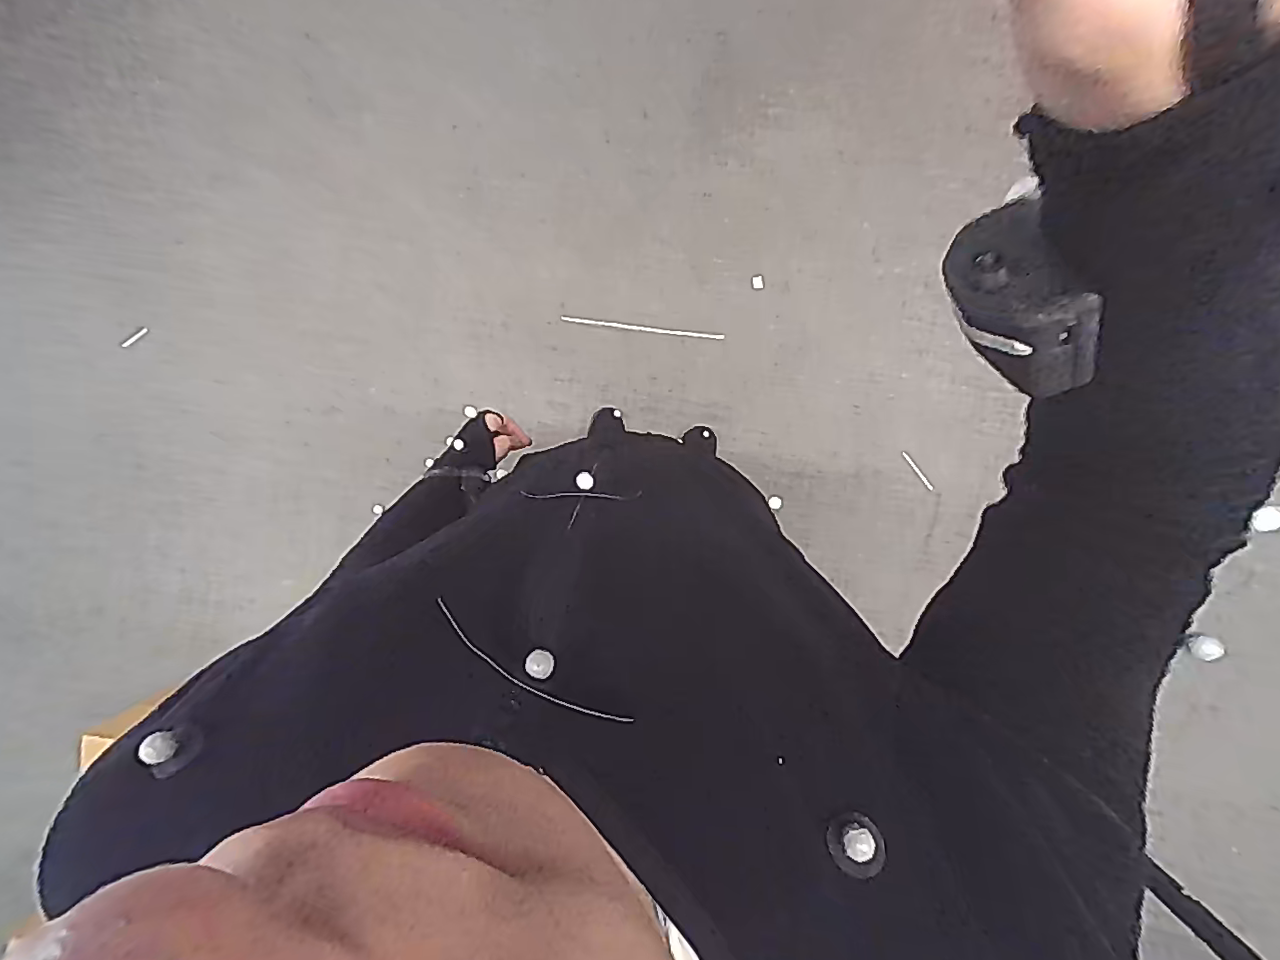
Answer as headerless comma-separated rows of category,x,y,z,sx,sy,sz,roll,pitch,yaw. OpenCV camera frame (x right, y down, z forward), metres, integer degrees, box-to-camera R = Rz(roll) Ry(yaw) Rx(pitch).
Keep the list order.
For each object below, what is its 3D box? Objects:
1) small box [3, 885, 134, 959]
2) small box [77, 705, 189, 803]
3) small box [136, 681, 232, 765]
small box,-1.468,1.197,1.399,0.179,0.176,0.168,6,96,3
small box,-1.418,0.763,1.522,0.168,0.176,0.179,8,97,2
small box,-1.418,0.750,1.685,0.179,0.176,0.168,9,95,1
